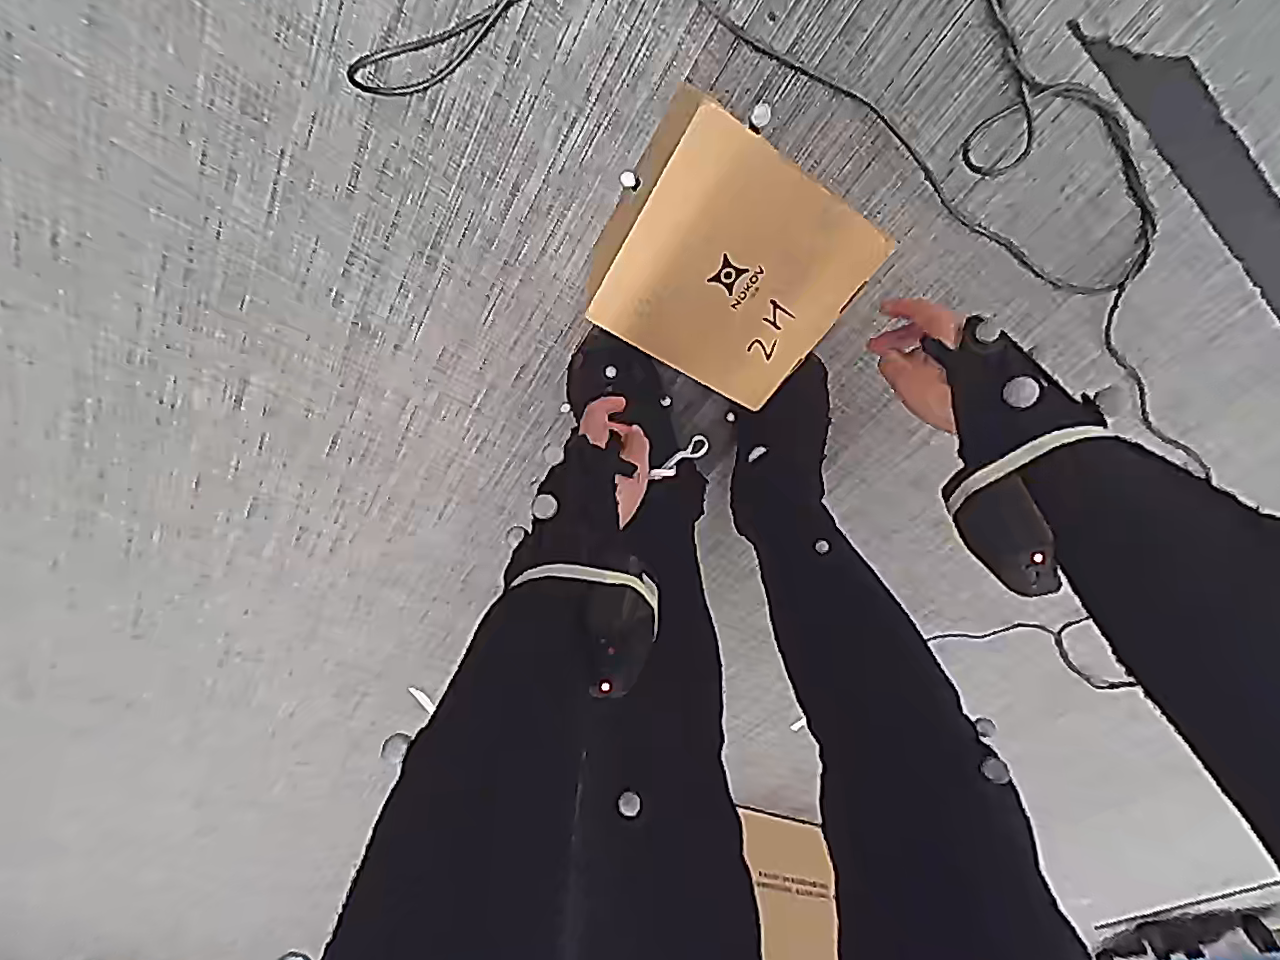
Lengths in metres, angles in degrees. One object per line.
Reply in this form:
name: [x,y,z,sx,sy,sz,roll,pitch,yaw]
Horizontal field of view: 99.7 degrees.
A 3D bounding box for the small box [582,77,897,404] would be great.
small box: [0.067,-0.202,0.459,0.179,0.176,0.168,25,124,-20]
